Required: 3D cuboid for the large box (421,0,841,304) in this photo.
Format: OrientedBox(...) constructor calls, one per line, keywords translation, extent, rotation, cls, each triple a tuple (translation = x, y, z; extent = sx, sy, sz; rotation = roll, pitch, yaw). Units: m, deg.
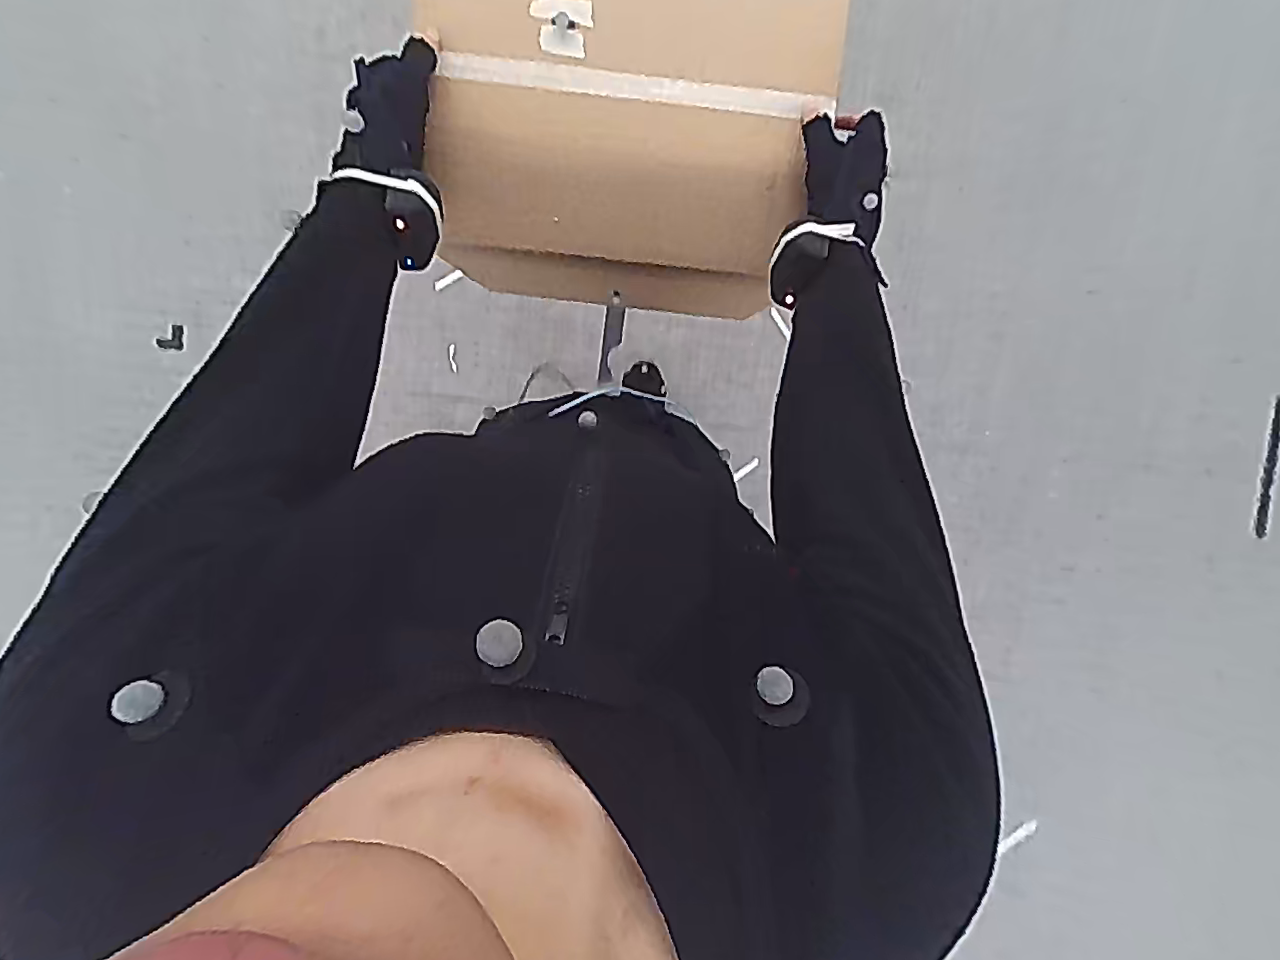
OrientedBox(translation=(-0.013, -0.412, 0.673), extent=(0.408, 0.320, 0.320), rotation=(5, 99, -2), cls="large box")
